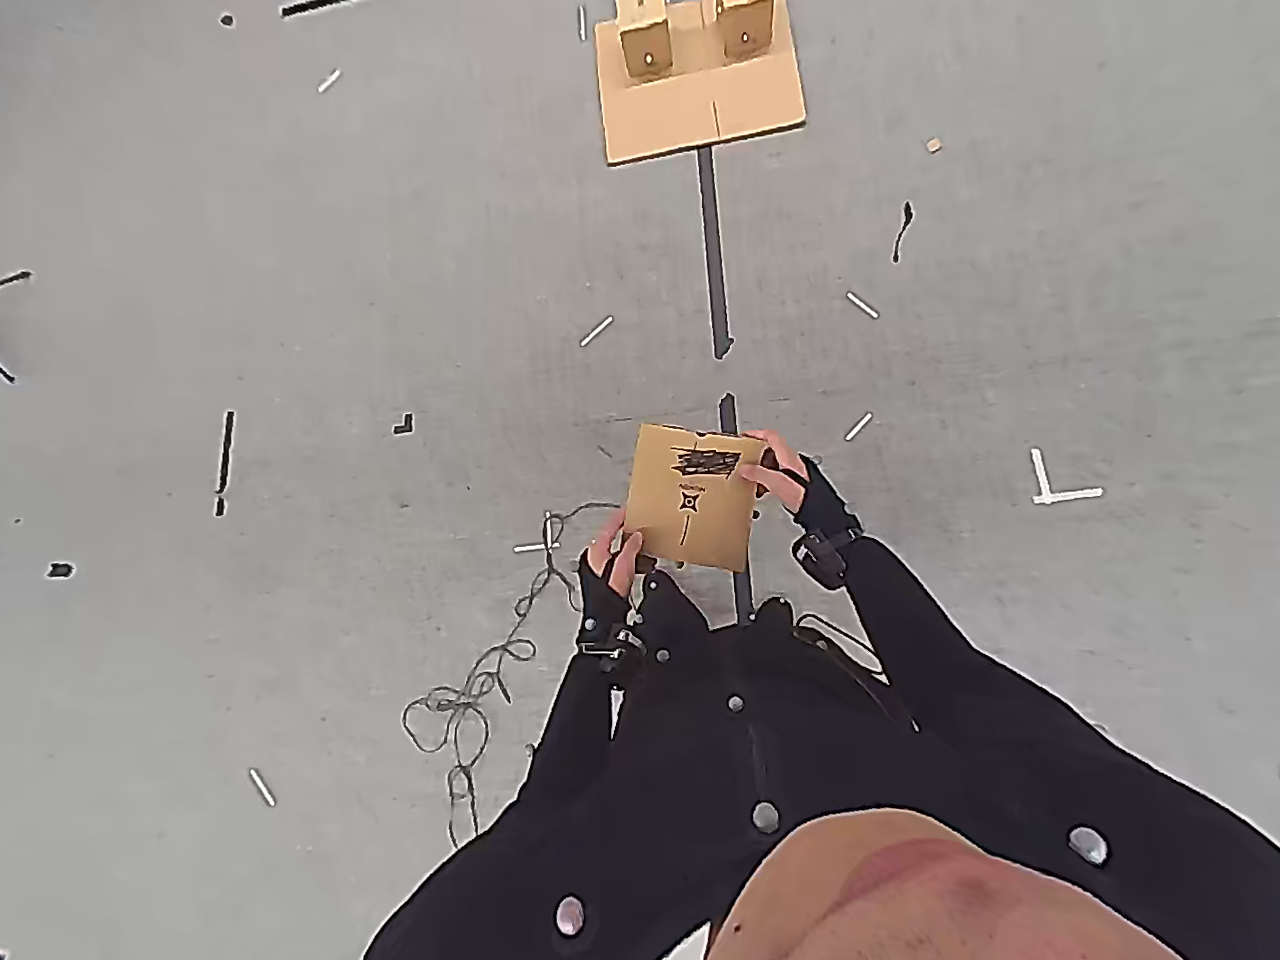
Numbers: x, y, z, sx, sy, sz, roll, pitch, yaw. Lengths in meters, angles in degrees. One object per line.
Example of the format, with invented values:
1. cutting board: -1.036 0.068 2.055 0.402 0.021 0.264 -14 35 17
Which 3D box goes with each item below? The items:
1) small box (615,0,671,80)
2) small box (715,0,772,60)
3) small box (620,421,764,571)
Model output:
1. small box: 0.014 -1.571 1.909 0.168 0.176 0.179 -8 79 9
2. small box: 0.353 -1.609 1.863 0.168 0.176 0.179 -11 78 8
3. small box: 0.075 0.026 0.781 0.168 0.176 0.179 9 86 8
